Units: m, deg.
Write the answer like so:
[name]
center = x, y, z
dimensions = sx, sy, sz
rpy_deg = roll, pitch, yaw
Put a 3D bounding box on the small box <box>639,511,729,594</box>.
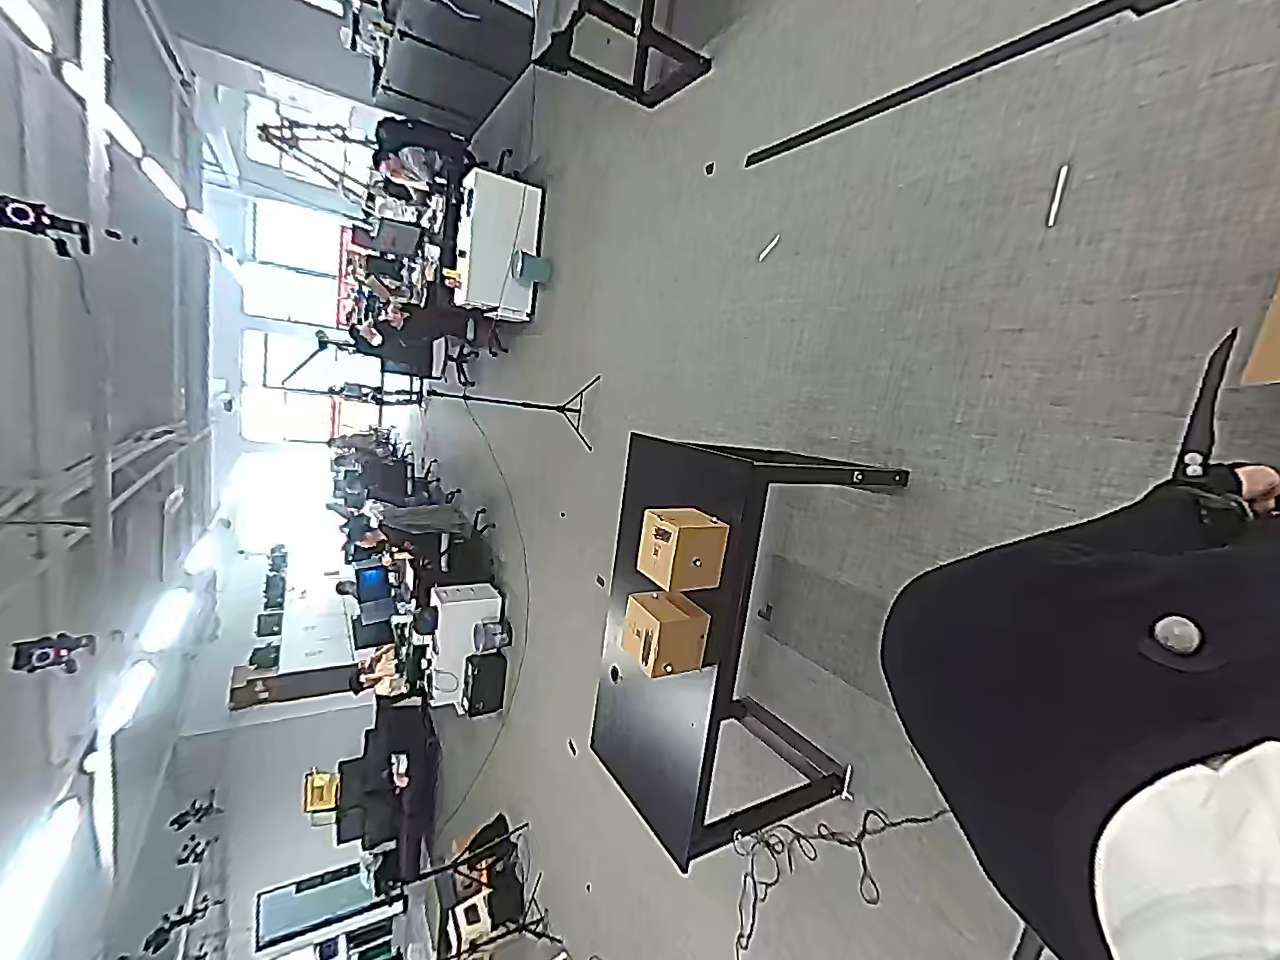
[small box]
center = 0.118, 0.187, 1.455
dimensions = 0.168, 0.176, 0.179
rpy_deg = 26, 111, 57
